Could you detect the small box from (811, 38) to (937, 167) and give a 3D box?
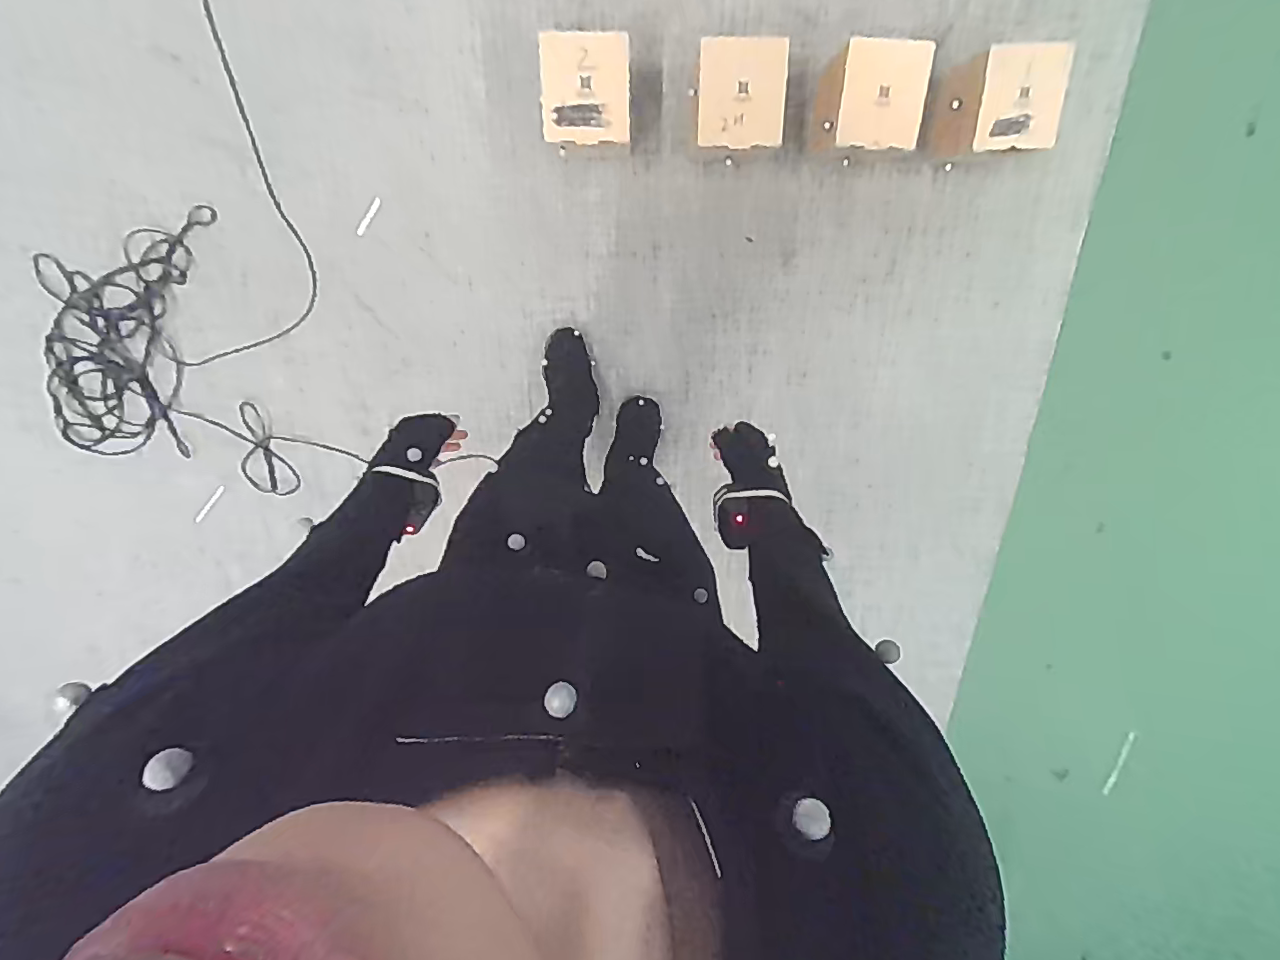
[{"bbox_3d":[0.461,-0.754,1.097,0.168,0.176,0.179,1,112,-3],"label":"small box"}]

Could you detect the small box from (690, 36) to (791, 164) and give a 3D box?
[{"bbox_3d":[0.193,-0.753,1.087,0.168,0.176,0.179,0,112,-1],"label":"small box"}]

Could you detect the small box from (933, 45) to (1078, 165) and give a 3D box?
[{"bbox_3d":[0.730,-0.753,1.104,0.168,0.176,0.179,-2,111,-1],"label":"small box"}]
